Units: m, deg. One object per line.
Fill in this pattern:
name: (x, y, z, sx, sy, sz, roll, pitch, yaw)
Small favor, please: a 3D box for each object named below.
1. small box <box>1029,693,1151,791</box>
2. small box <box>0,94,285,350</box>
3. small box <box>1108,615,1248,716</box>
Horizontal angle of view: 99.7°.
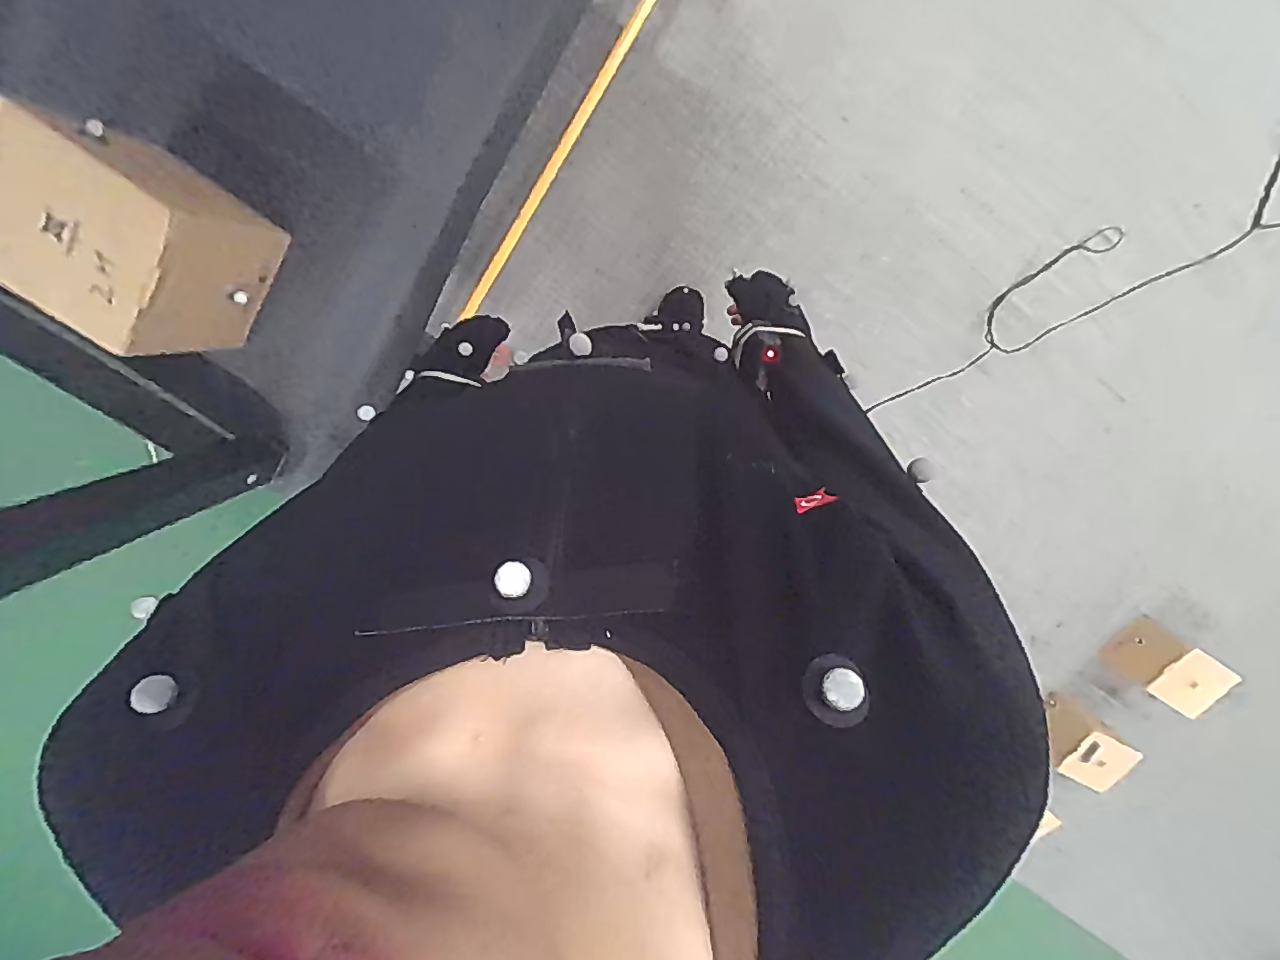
small box: (1.304, 0.757, 1.583, 0.179, 0.176, 0.168, 27, 107, -6)
small box: (-0.549, -0.261, 0.594, 0.179, 0.176, 0.168, 34, 106, -7)
small box: (1.476, 0.505, 1.496, 0.179, 0.176, 0.168, 31, 106, -6)
